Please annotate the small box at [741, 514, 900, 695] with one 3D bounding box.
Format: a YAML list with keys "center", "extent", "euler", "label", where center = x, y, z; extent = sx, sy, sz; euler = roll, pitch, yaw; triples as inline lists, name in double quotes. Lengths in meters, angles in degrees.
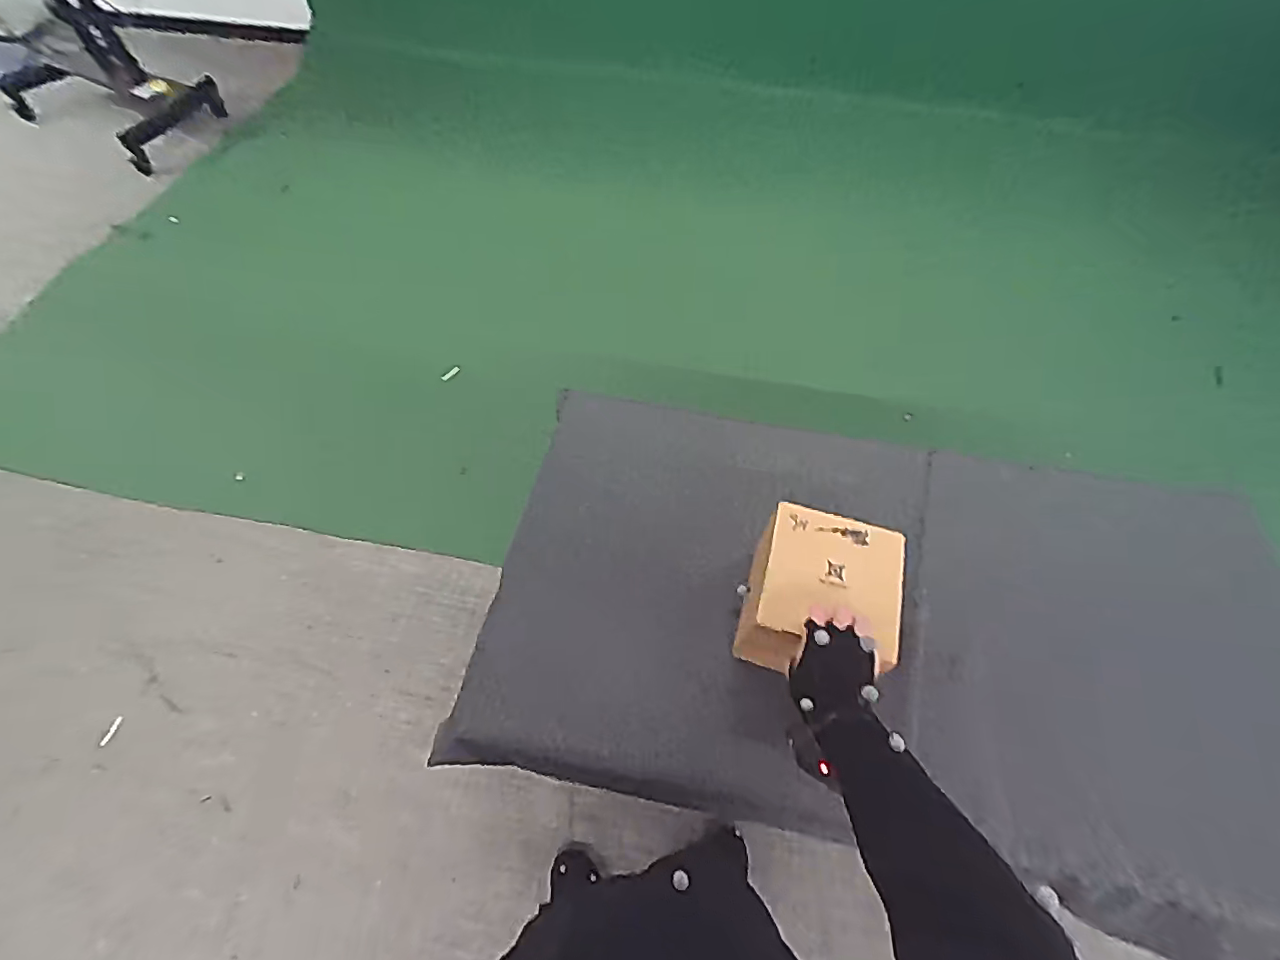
- center: [0.239, 0.176, 0.741]
  extent: [0.168, 0.176, 0.179]
  euler: [12, 58, 8]
  label: "small box"
